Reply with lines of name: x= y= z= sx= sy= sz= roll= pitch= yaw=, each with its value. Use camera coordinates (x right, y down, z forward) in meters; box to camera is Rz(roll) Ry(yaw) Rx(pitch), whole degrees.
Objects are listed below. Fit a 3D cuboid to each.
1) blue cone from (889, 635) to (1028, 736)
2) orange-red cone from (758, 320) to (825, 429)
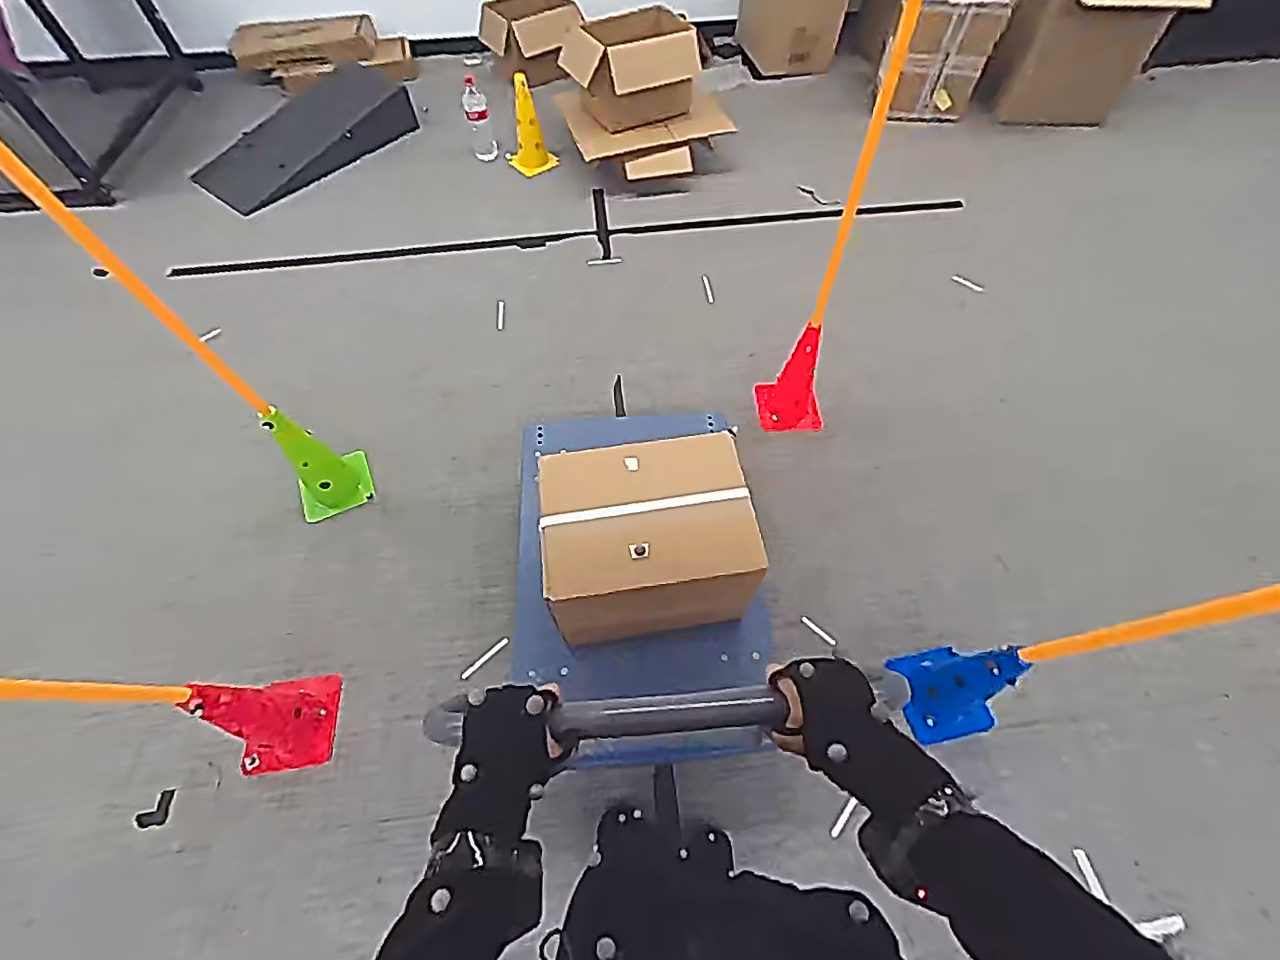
blue cone: x=0.721 y=0.420 z=1.173 sx=0.193 sy=0.380 sz=0.192 roll=-9 pitch=57 yaw=-5
orange-red cone: x=0.491 y=-0.335 z=1.627 sx=0.199 sy=0.360 sz=0.198 roll=0 pitch=59 yaw=0
